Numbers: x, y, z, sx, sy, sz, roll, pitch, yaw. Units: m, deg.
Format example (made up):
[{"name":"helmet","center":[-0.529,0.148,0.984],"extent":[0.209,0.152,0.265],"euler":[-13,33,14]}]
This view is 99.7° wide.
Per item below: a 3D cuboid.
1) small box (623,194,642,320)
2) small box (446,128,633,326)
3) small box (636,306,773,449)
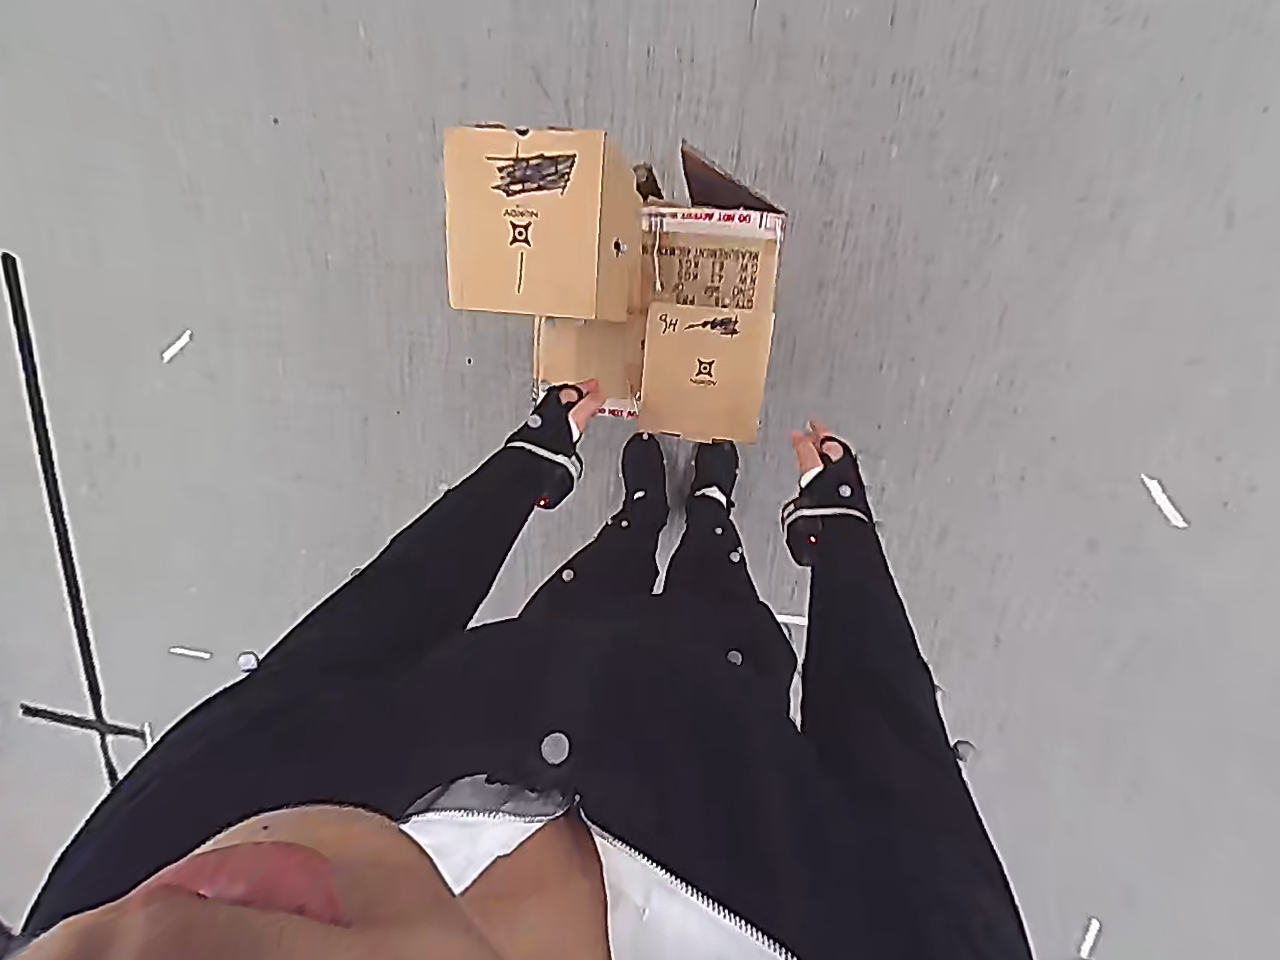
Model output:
[{"name":"small box","center":[-0.092,-0.324,0.777],"extent":[0.168,0.176,0.179],"euler":[4,107,10]},{"name":"small box","center":[-0.105,-0.274,0.620],"extent":[0.168,0.176,0.179],"euler":[7,107,9]},{"name":"small box","center":[0.093,-0.157,0.793],"extent":[0.168,0.176,0.179],"euler":[7,107,6]}]
